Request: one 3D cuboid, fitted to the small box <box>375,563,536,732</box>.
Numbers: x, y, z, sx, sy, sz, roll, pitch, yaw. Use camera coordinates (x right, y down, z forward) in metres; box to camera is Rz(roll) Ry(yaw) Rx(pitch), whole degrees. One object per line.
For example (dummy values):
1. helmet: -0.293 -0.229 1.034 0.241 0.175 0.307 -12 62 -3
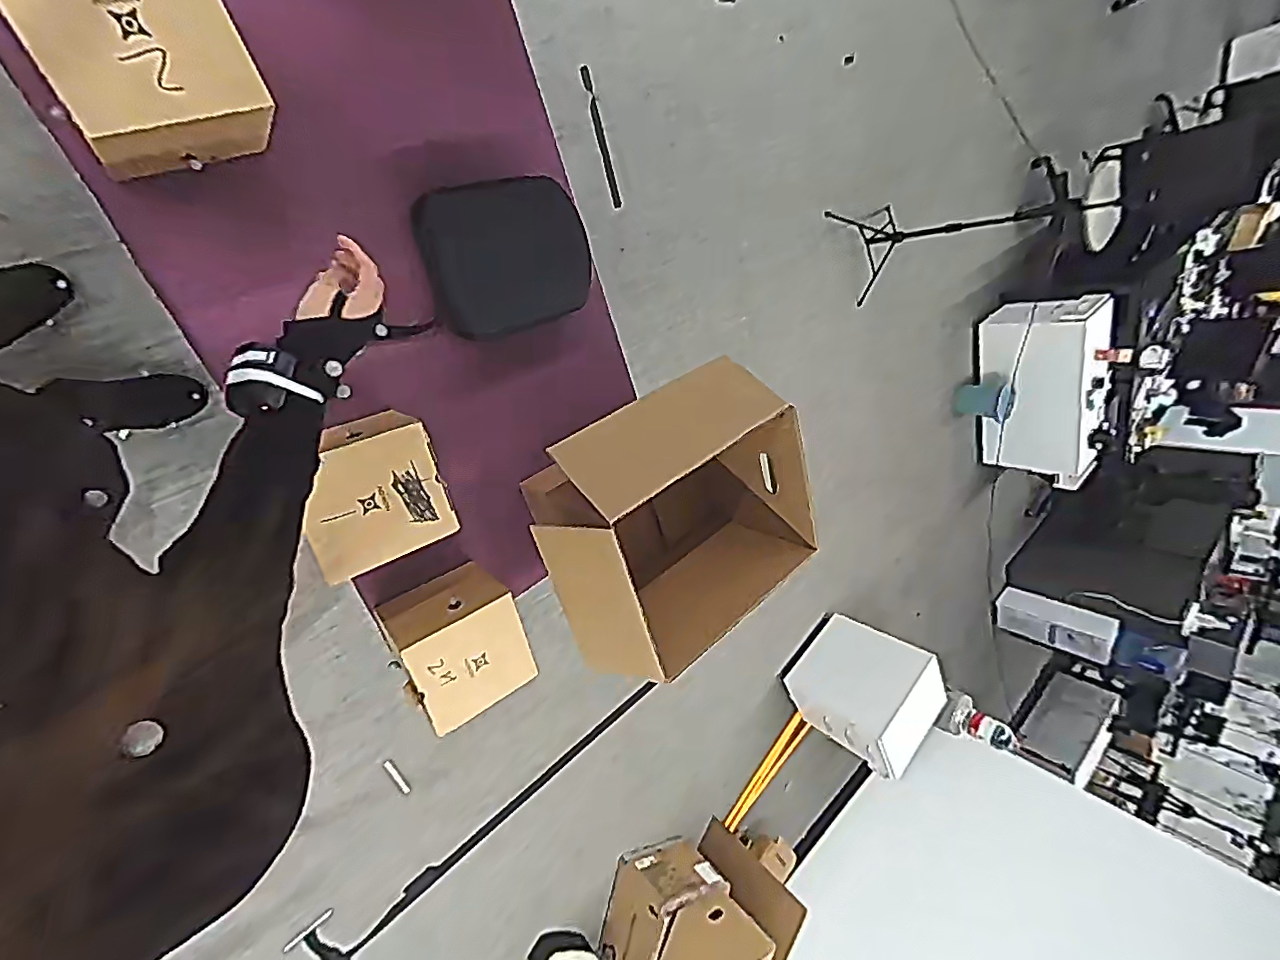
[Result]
1. small box: -0.301 0.258 0.882 0.179 0.176 0.168 -26 115 -31
